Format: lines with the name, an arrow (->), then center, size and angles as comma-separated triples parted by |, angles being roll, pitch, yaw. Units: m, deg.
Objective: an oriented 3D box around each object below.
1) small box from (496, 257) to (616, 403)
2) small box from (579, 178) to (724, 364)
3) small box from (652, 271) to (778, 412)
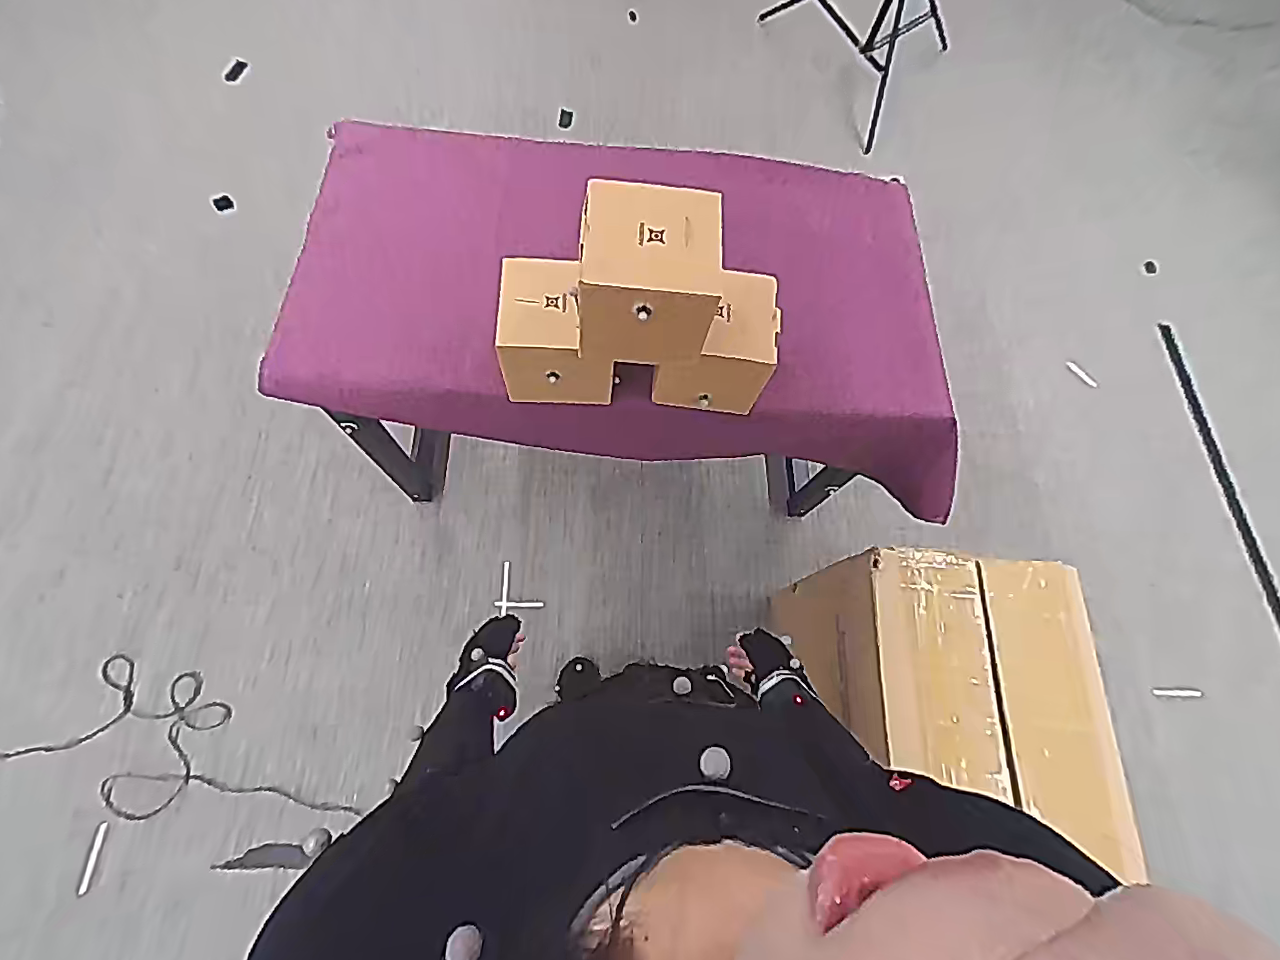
small box -> -0.128, -0.237, 0.889 | 0.179, 0.176, 0.168 | 1, 68, -4
small box -> 0.011, -0.276, 0.742 | 0.179, 0.176, 0.168 | 4, 70, -5
small box -> 0.122, -0.229, 0.911 | 0.179, 0.176, 0.168 | 6, 68, -2
